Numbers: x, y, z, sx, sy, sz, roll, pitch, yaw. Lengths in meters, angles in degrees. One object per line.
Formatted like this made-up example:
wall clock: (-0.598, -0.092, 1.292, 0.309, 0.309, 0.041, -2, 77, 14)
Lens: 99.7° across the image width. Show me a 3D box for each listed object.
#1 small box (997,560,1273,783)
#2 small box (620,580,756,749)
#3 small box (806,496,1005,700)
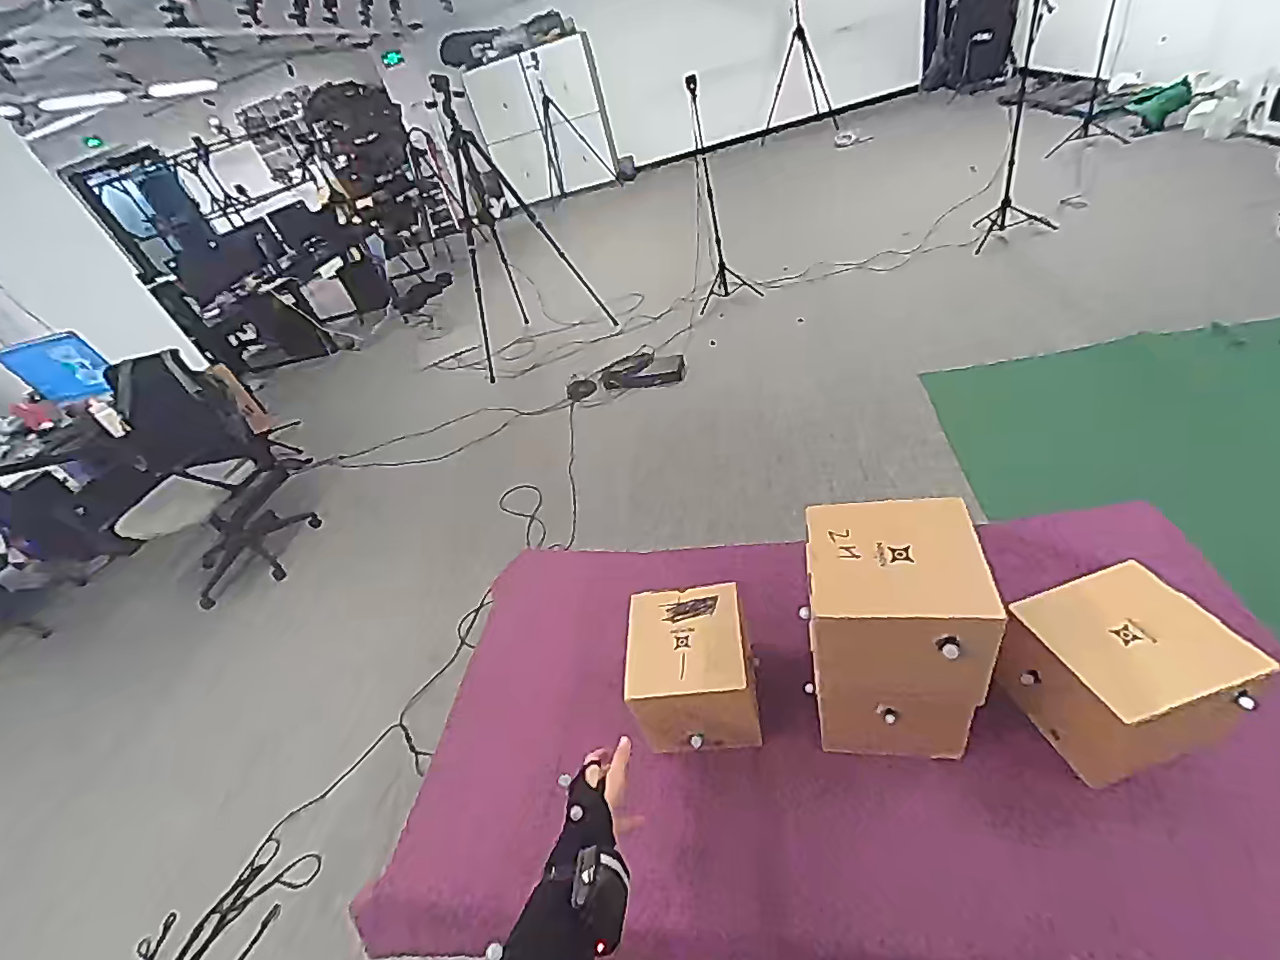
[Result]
small box: (0.572, 0.235, 0.660, 0.179, 0.176, 0.168, -19, 37, -1)
small box: (0.077, 0.276, 0.808, 0.168, 0.176, 0.179, -9, 39, 12)
small box: (0.288, 0.137, 0.627, 0.179, 0.176, 0.168, -4, 40, 18)
